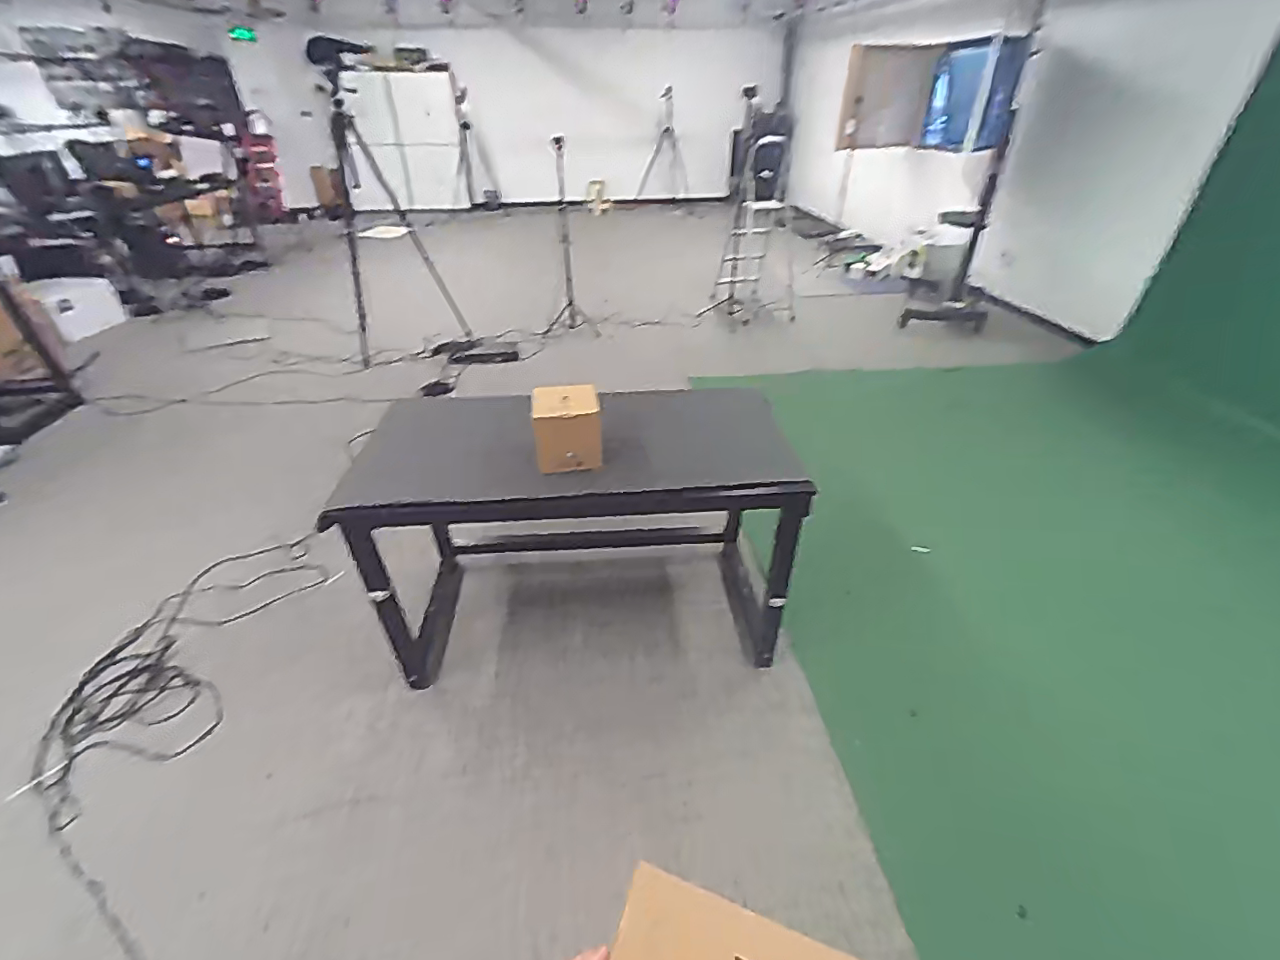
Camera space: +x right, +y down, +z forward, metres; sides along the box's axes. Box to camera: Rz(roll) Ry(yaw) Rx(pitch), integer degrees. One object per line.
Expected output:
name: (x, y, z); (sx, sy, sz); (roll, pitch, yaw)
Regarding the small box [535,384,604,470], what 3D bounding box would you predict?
small box: (-0.188, -0.143, 1.444); (0.168, 0.176, 0.179); (-5, 34, -7)
